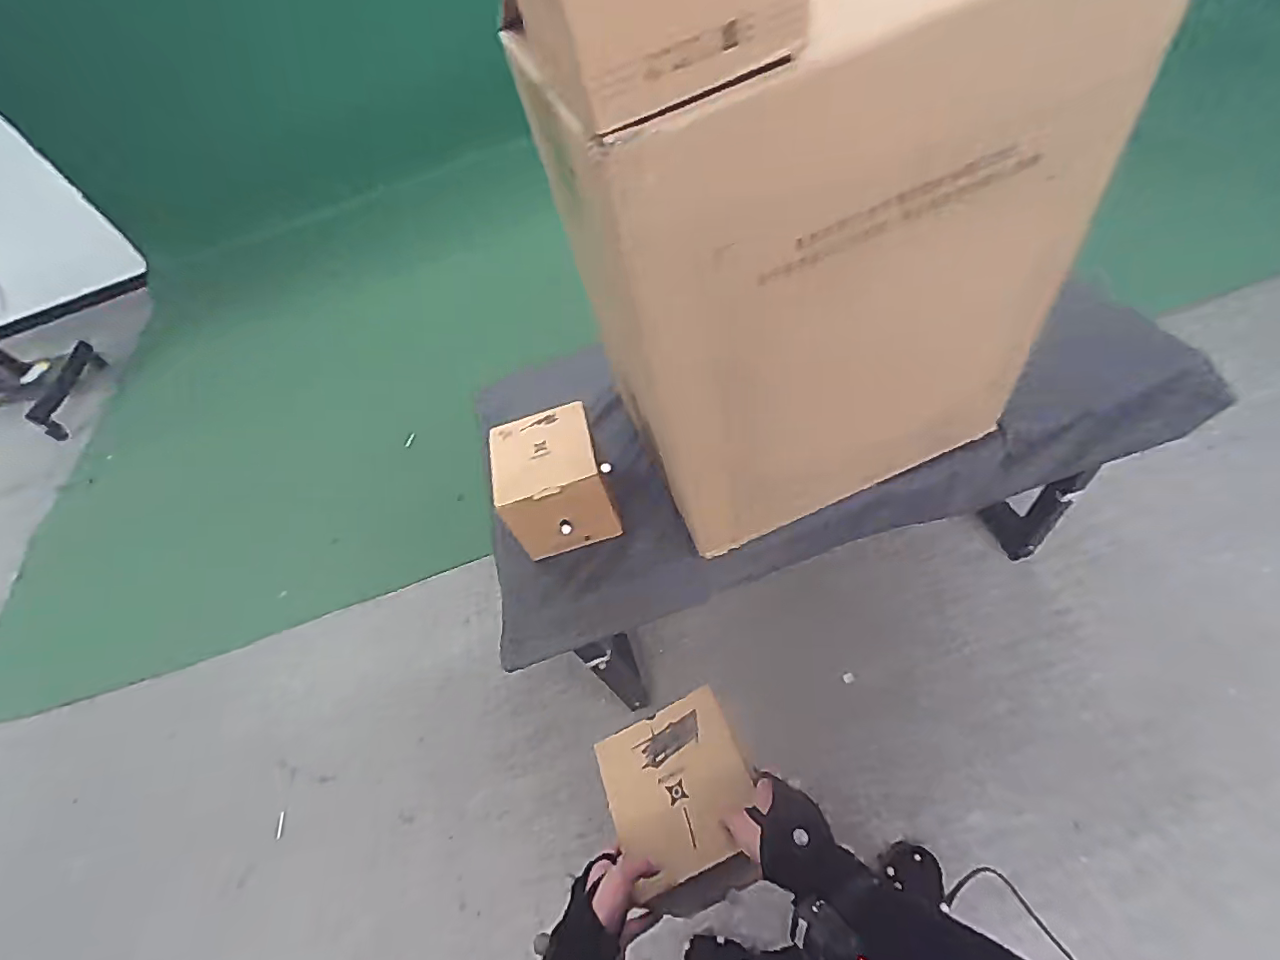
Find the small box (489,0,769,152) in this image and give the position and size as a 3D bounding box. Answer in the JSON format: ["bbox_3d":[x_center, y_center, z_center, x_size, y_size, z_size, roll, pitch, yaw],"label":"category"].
[{"bbox_3d":[-0.021,-0.363,0.379,0.168,0.176,0.179,-24,51,-2],"label":"small box"}]

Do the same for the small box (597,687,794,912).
[{"bbox_3d":[0.069,0.400,0.675,0.168,0.176,0.179,-29,43,3],"label":"small box"}]
